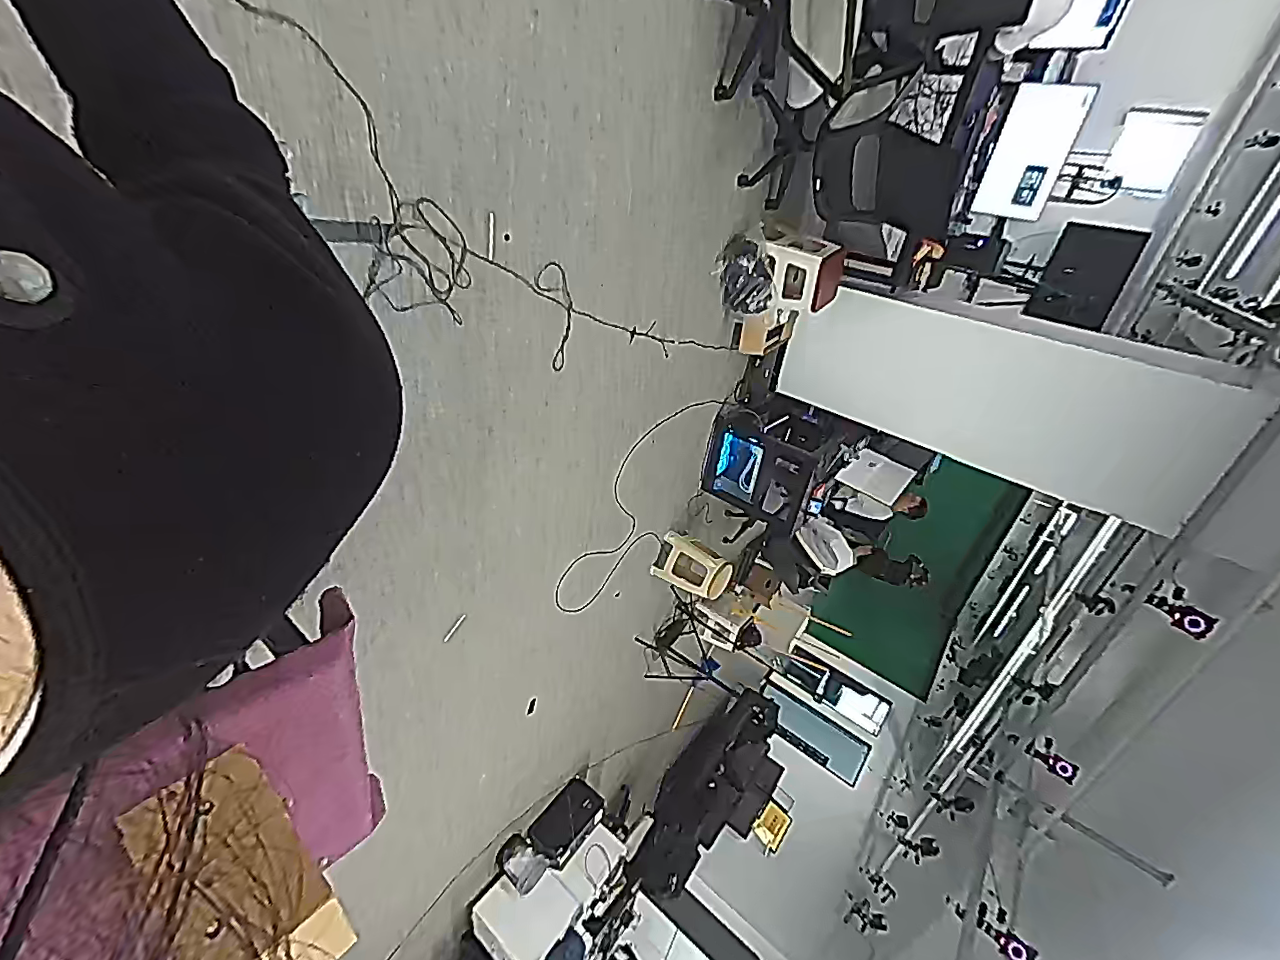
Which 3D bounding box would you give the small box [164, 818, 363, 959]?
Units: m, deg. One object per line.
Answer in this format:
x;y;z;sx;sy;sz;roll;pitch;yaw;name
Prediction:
-0.537;0.637;0.781;0.168;0.176;0.179;-31;140;-42;small box

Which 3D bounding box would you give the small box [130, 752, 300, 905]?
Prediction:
-0.663;0.576;0.864;0.168;0.176;0.179;-30;139;-44;small box
